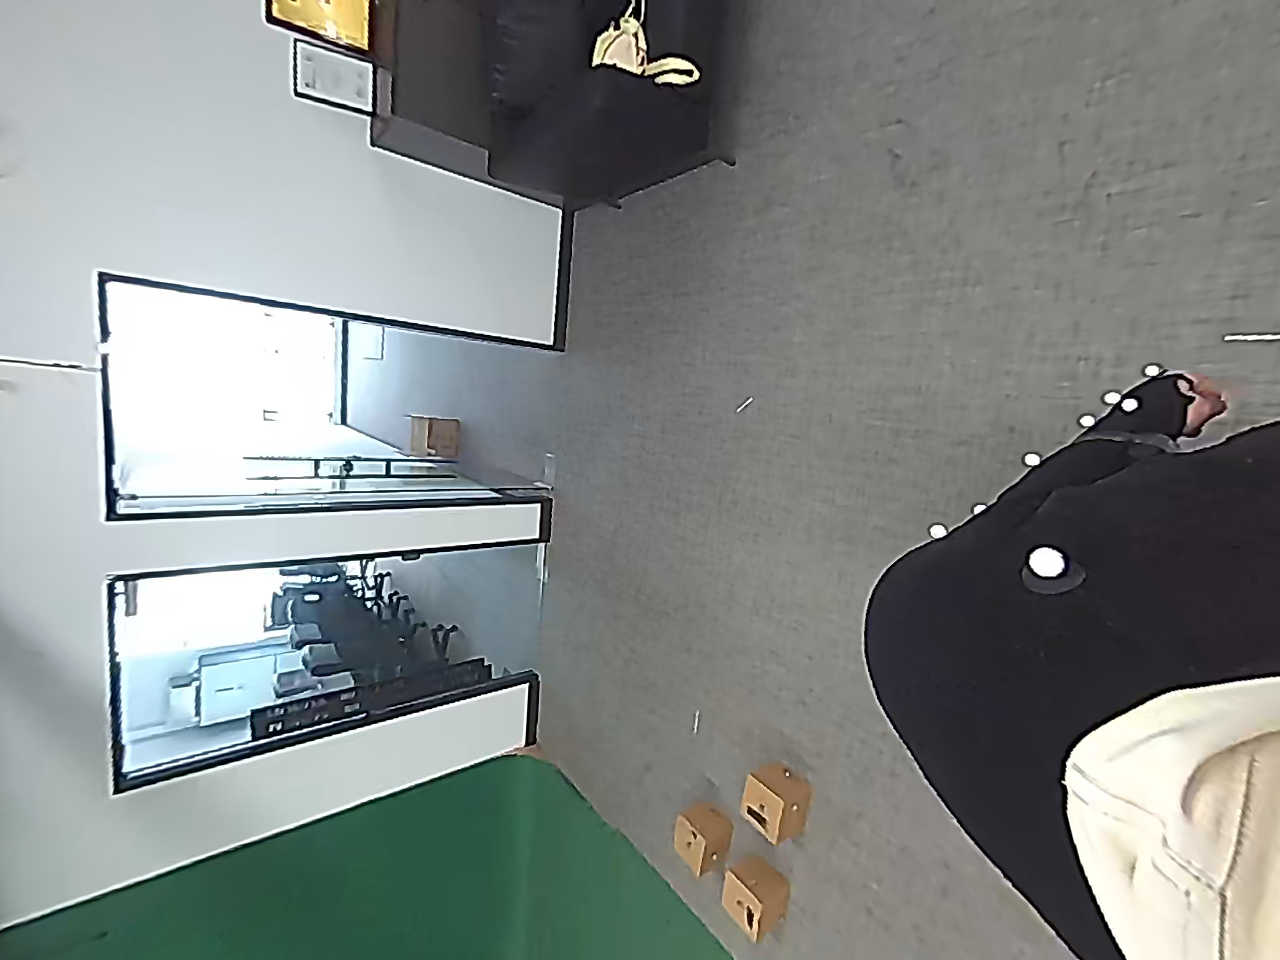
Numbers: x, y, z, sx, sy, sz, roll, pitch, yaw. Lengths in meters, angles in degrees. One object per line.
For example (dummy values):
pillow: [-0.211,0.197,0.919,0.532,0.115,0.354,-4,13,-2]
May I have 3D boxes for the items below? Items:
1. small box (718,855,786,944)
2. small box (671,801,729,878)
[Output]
small box: [0.425,1.574,2.043,0.179,0.176,0.168,17,103,51]
small box: [0.252,1.499,2.263,0.168,0.176,0.179,20,106,50]
